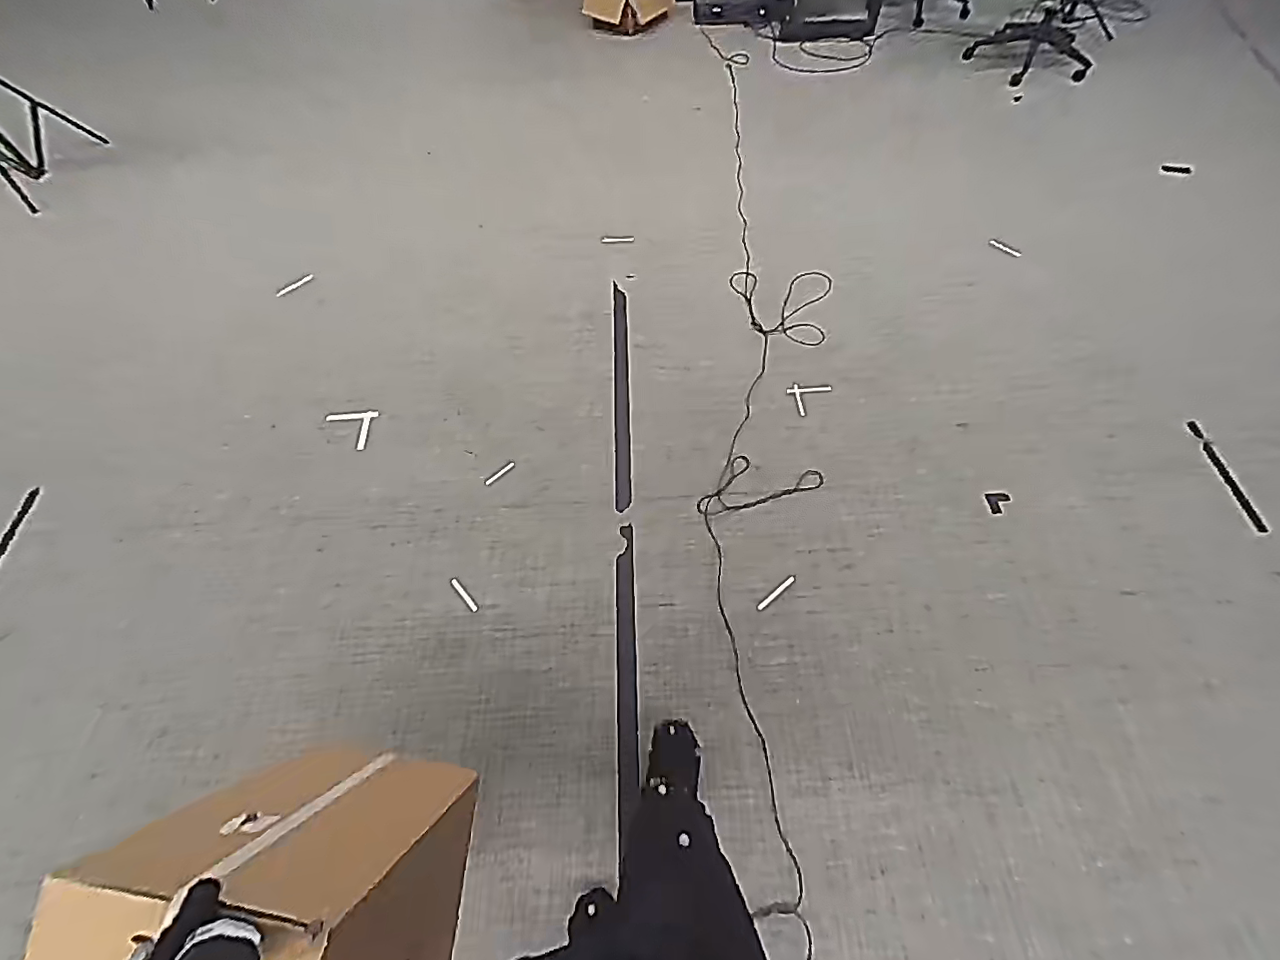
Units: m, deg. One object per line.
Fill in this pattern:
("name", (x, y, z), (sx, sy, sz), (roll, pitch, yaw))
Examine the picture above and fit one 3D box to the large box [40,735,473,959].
("large box", (-0.470, 0.600, 0.733), (0.320, 0.408, 0.320), (7, 84, 6))
